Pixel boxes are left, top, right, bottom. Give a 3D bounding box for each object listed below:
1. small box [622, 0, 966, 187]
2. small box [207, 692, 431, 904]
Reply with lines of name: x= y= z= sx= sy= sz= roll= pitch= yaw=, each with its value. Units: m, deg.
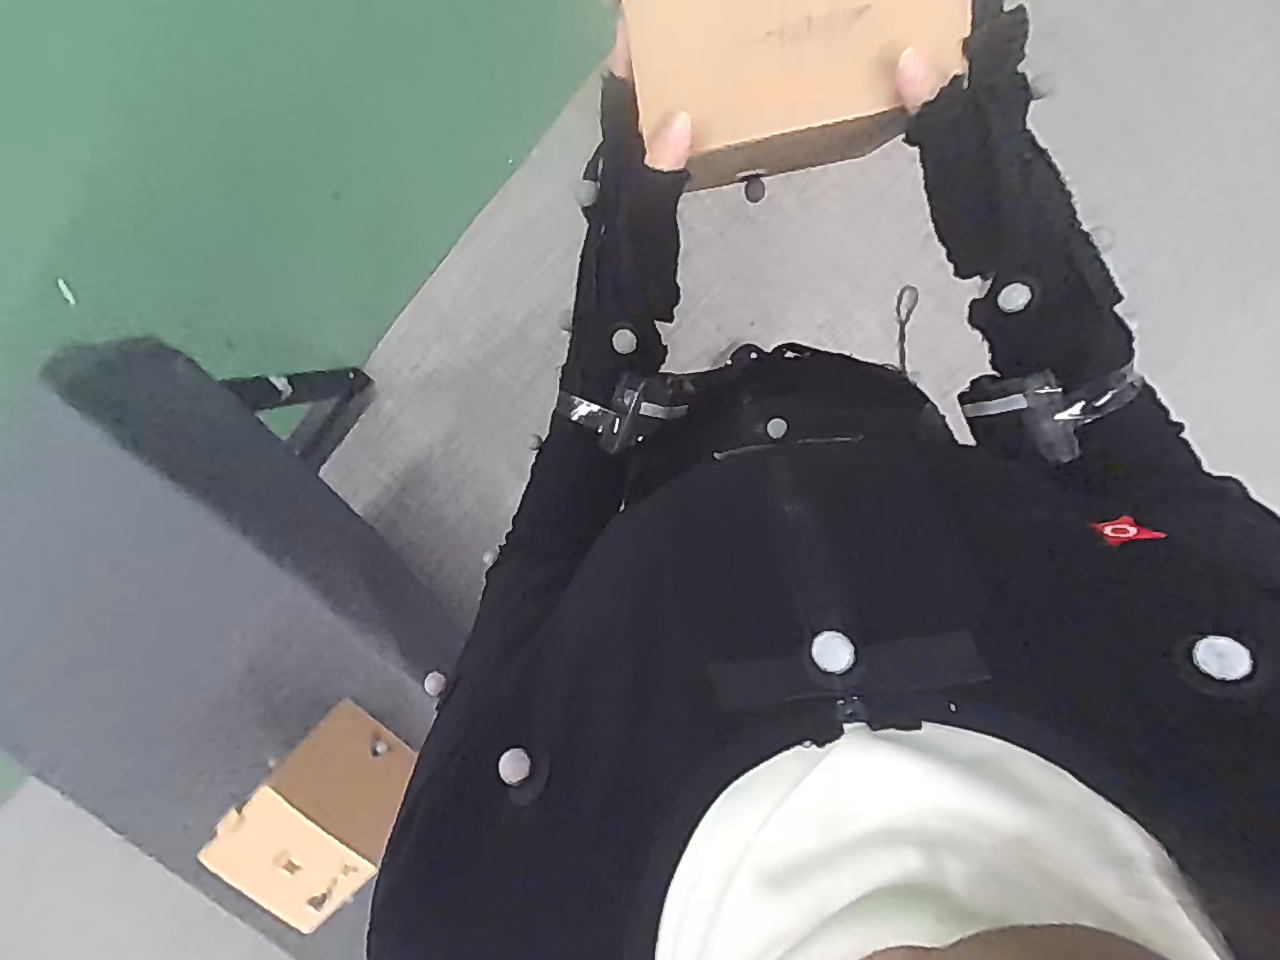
small box: x=0.075 y=-0.295 z=0.325 sx=0.168 sy=0.176 sz=0.179 roll=-6 pitch=112 yaw=9
small box: x=-0.443 y=0.436 z=0.773 sx=0.179 sy=0.176 sz=0.168 roll=44 pitch=105 yaw=-6
